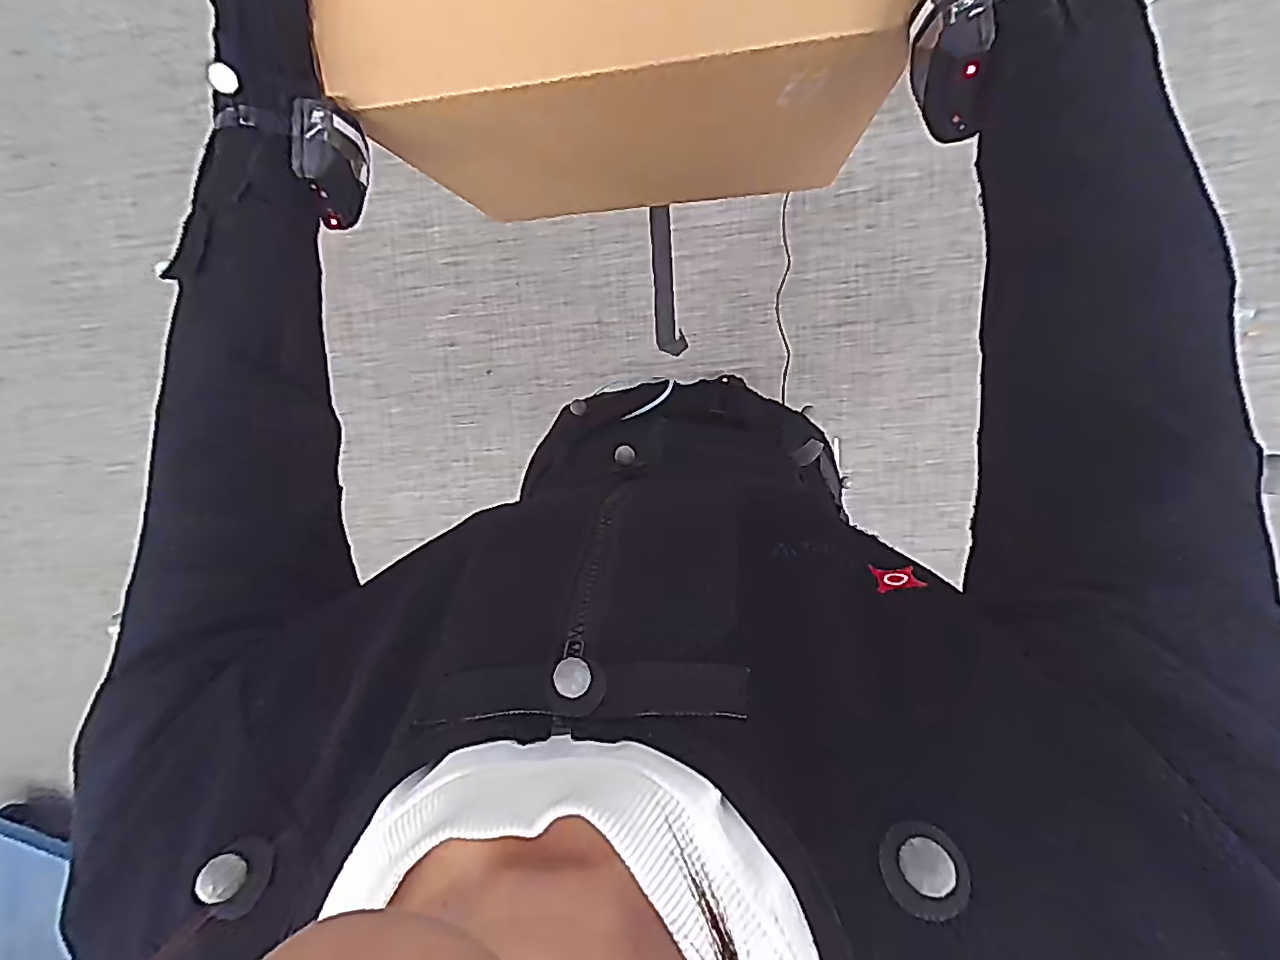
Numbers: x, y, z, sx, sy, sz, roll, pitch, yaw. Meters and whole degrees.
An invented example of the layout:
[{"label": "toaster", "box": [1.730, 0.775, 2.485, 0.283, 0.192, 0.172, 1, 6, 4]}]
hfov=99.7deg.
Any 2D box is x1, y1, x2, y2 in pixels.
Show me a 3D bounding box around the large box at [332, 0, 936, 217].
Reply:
[{"label": "large box", "box": [-0.008, -0.456, 0.475, 0.408, 0.320, 0.320, -3, 102, 7]}]
